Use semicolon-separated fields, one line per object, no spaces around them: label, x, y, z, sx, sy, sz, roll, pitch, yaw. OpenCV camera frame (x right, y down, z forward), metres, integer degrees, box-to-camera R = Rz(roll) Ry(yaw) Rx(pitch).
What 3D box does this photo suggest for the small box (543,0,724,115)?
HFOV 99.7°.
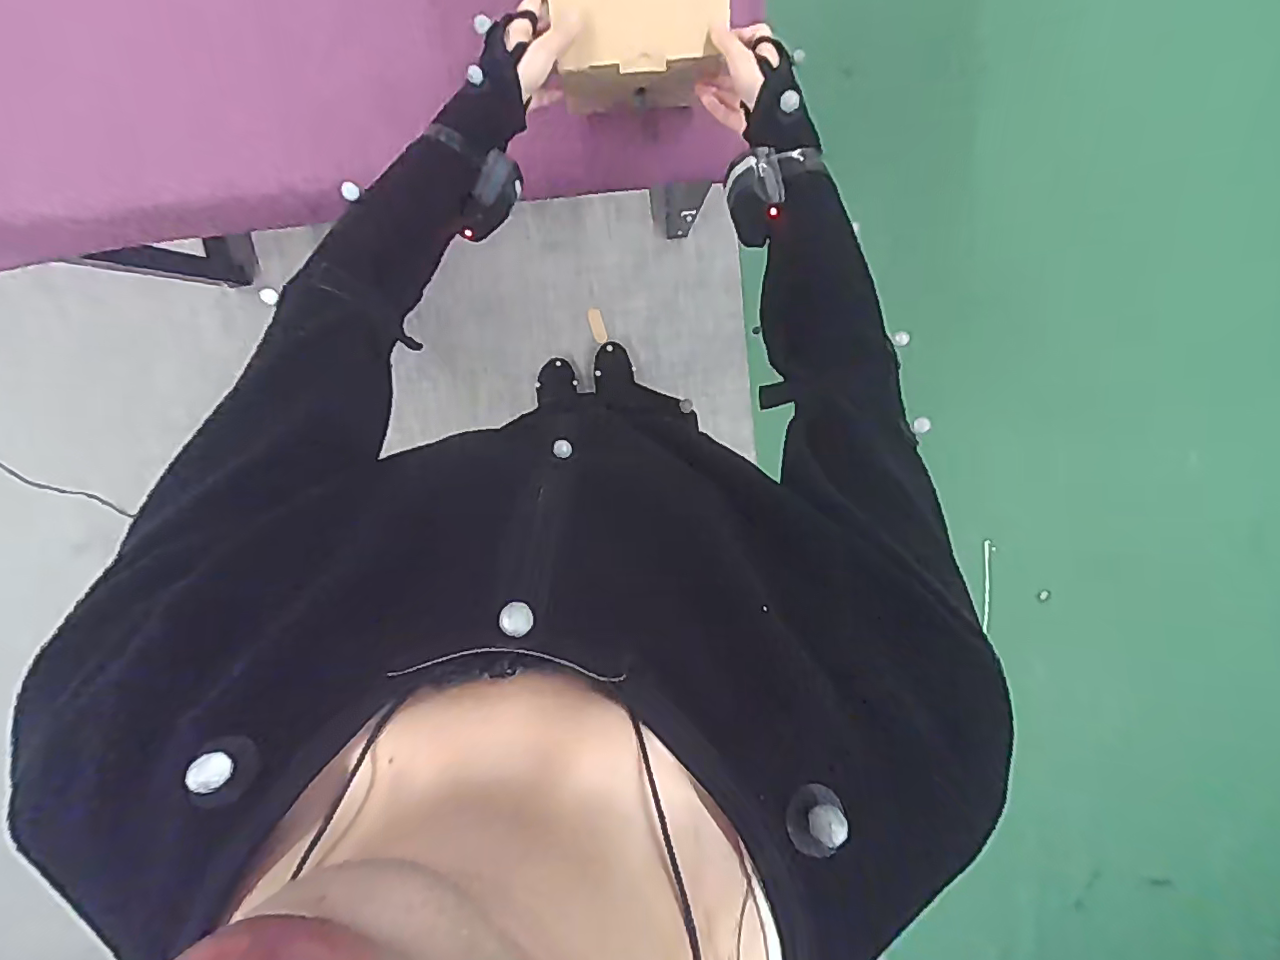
small box;-0.010;-0.488;0.548;0.168;0.176;0.179;-5;113;-1
